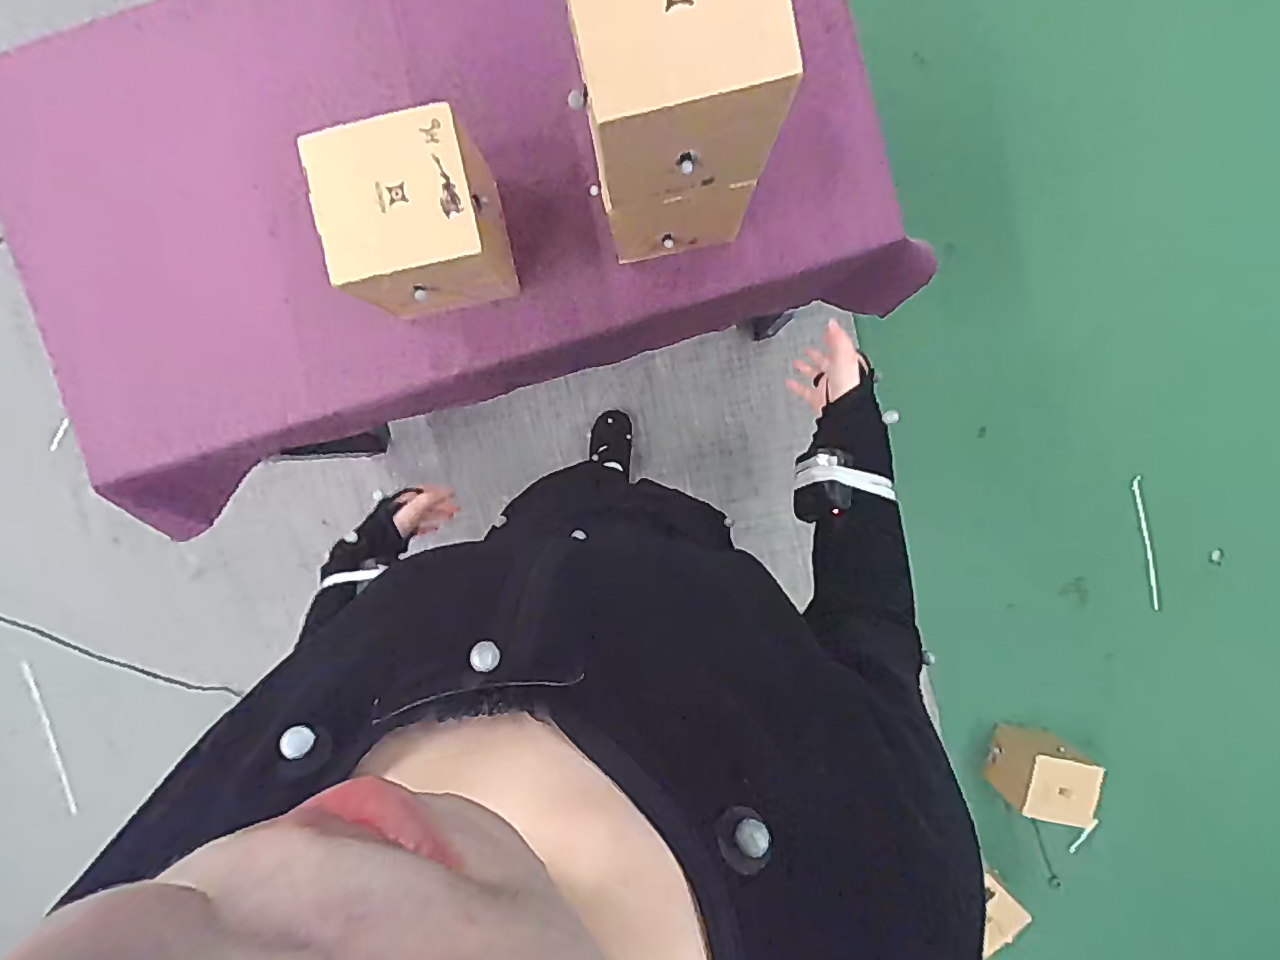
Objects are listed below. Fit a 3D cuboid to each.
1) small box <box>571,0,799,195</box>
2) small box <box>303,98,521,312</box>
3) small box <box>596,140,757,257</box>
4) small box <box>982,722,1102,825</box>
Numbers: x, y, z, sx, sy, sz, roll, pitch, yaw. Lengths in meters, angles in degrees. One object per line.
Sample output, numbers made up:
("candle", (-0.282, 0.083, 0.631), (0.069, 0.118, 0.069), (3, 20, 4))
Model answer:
("small box", (0.031, -0.388, 0.495), (0.168, 0.176, 0.179), (-12, 94, 2))
("small box", (-0.267, -0.321, 0.671), (0.179, 0.176, 0.168), (-12, 94, 3))
("small box", (0.033, -0.400, 0.660), (0.168, 0.176, 0.179), (-11, 94, 2))
("small box", (1.064, 0.775, 1.443), (0.179, 0.176, 0.168), (11, 94, 0))
